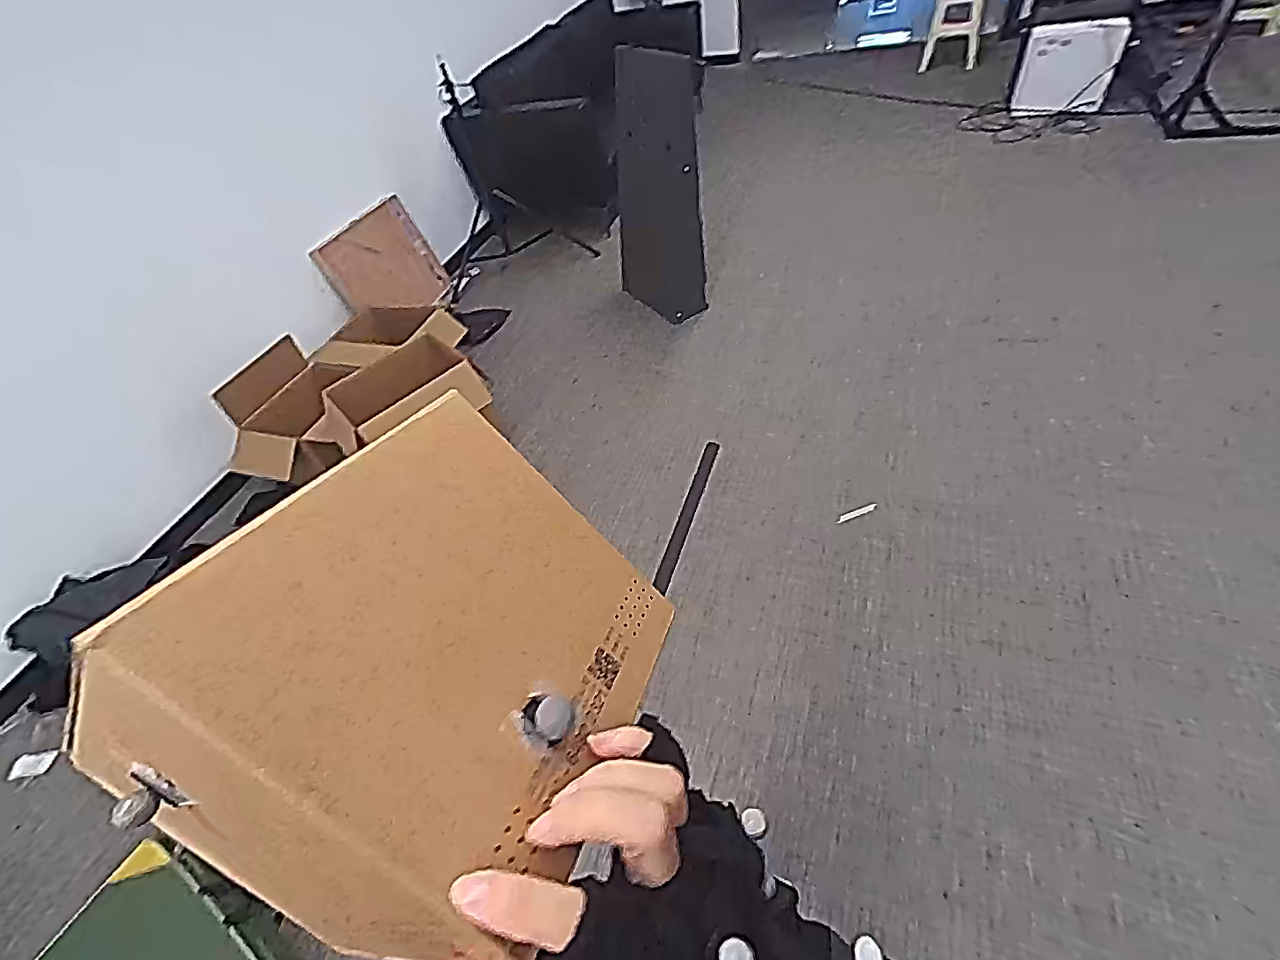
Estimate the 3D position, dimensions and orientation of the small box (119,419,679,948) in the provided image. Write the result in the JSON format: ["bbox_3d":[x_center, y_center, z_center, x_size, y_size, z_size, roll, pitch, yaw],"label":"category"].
[{"bbox_3d":[-0.111,0.107,0.286,0.179,0.176,0.168,-35,14,35],"label":"small box"}]
